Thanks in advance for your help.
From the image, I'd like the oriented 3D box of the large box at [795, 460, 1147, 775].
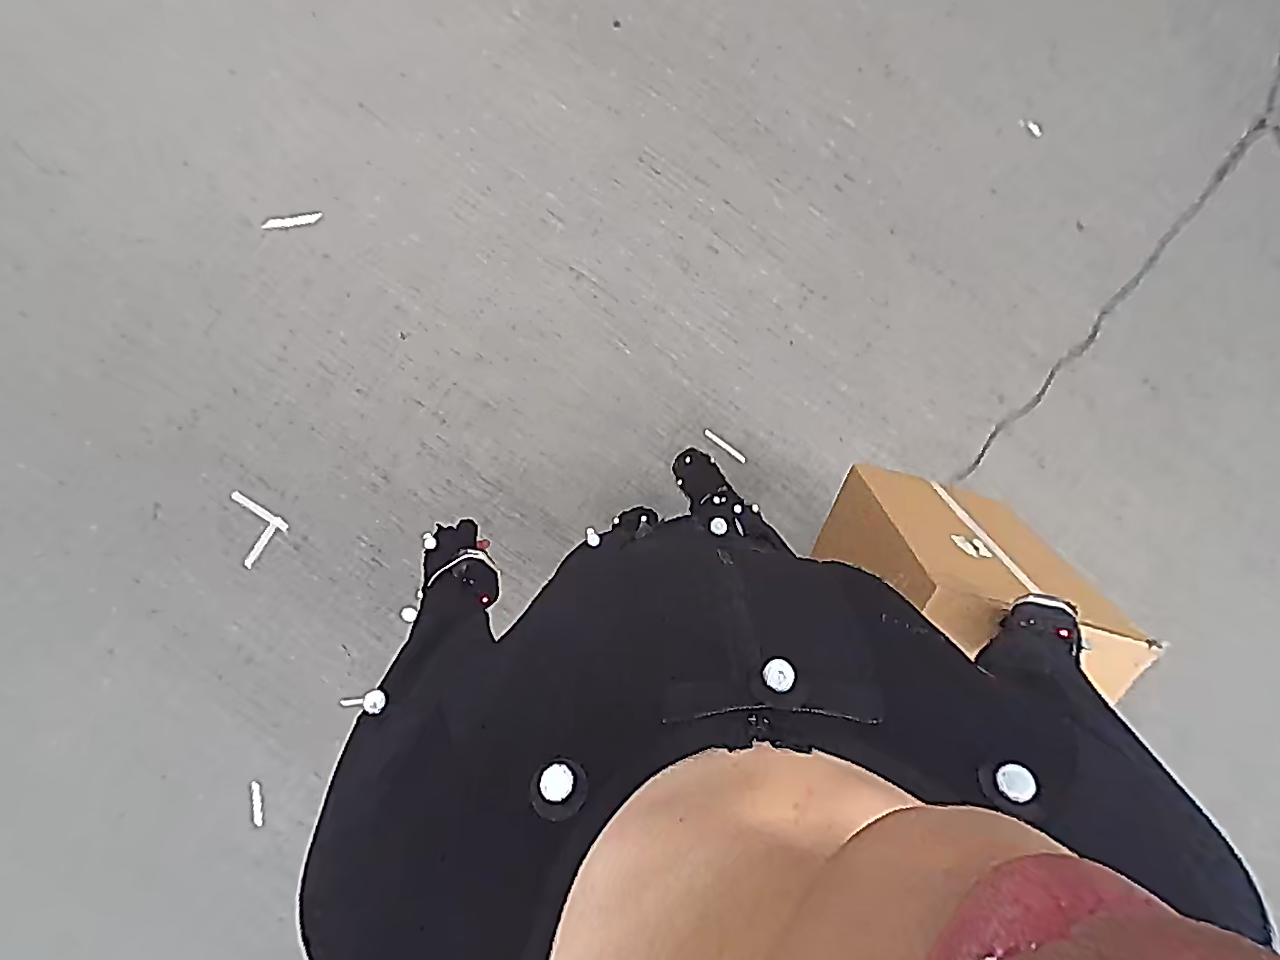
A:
[{"bbox_3d":[0.508,0.216,0.956,0.320,0.408,0.320,15,117,-2],"label":"large box"}]
